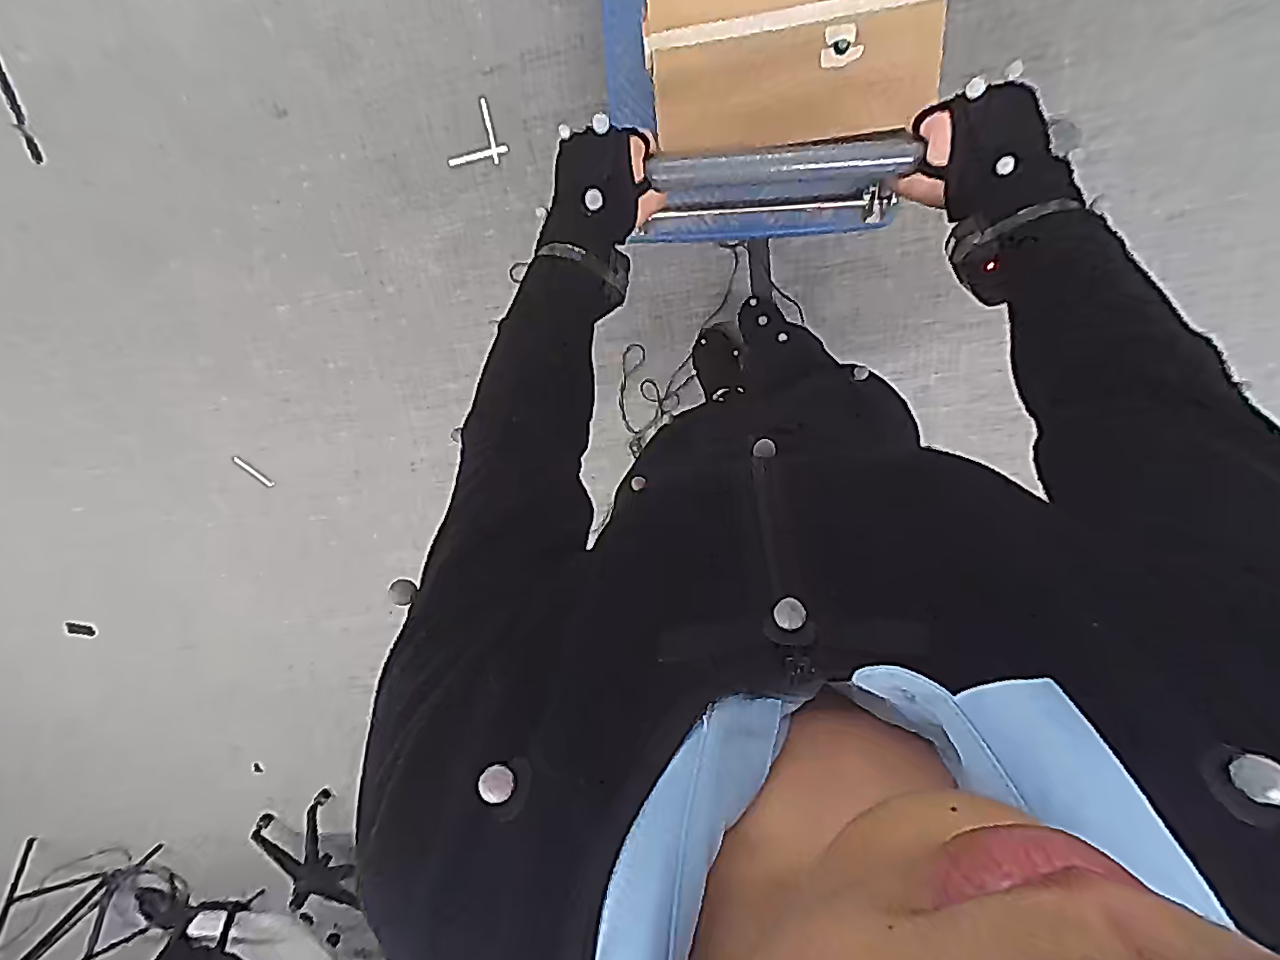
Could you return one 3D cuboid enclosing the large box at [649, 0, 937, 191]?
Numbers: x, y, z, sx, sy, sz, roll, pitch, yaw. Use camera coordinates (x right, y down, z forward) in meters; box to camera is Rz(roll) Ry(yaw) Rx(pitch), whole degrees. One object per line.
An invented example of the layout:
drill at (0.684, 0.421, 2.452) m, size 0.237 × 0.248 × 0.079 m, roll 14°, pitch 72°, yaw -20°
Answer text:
large box at (0.232, -0.709, 0.914) m, size 0.408 × 0.320 × 0.320 m, roll -4°, pitch 111°, yaw 8°
